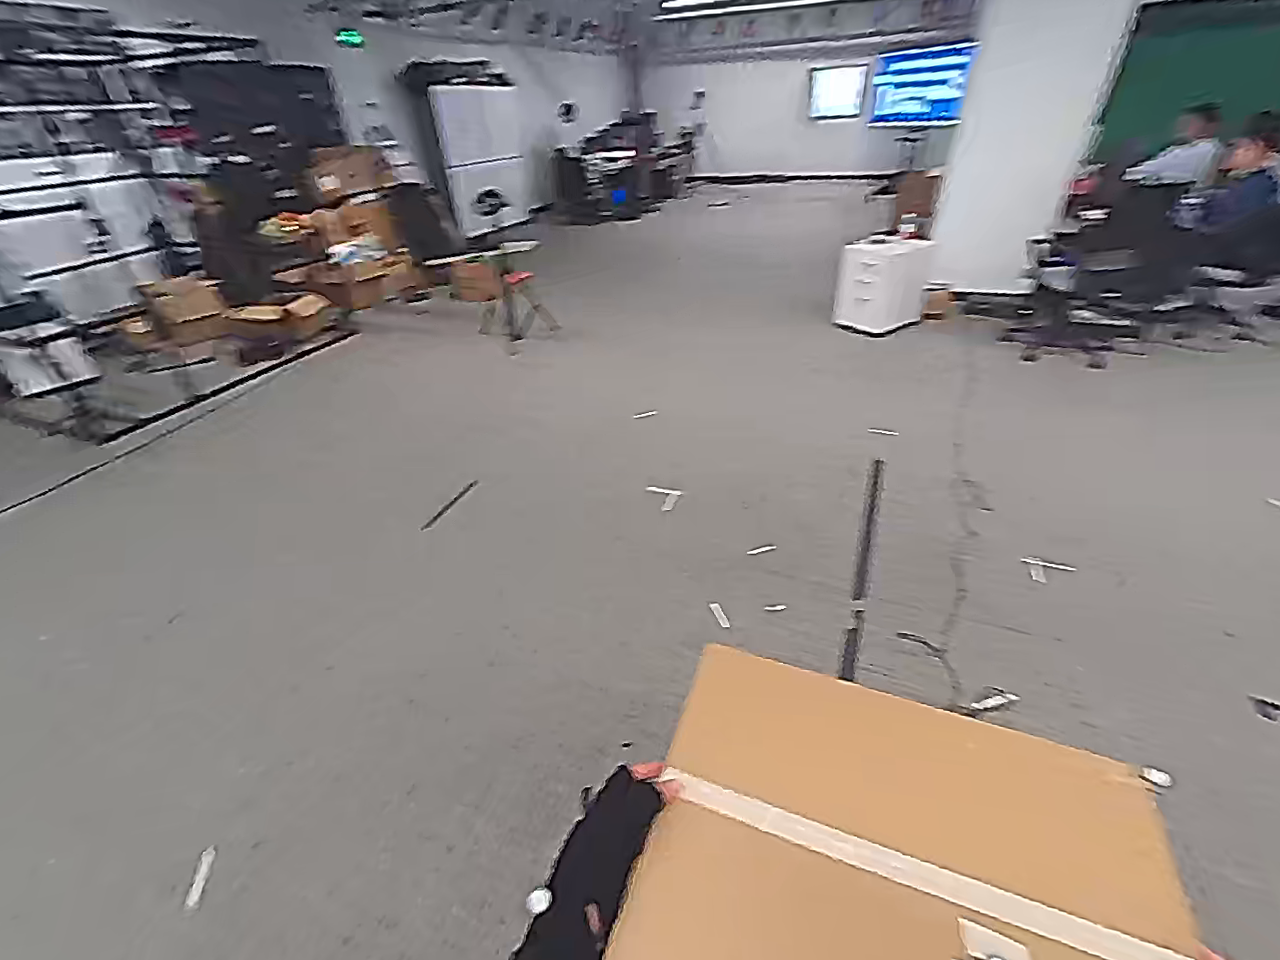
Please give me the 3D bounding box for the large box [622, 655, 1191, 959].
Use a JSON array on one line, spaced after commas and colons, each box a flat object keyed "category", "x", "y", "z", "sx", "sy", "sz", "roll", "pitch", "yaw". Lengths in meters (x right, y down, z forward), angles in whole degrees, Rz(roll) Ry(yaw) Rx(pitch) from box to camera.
[{"category": "large box", "x": 0.220, "y": 0.441, "z": 0.541, "sx": 0.408, "sy": 0.320, "sz": 0.320, "roll": 12, "pitch": 42, "yaw": 18}]
